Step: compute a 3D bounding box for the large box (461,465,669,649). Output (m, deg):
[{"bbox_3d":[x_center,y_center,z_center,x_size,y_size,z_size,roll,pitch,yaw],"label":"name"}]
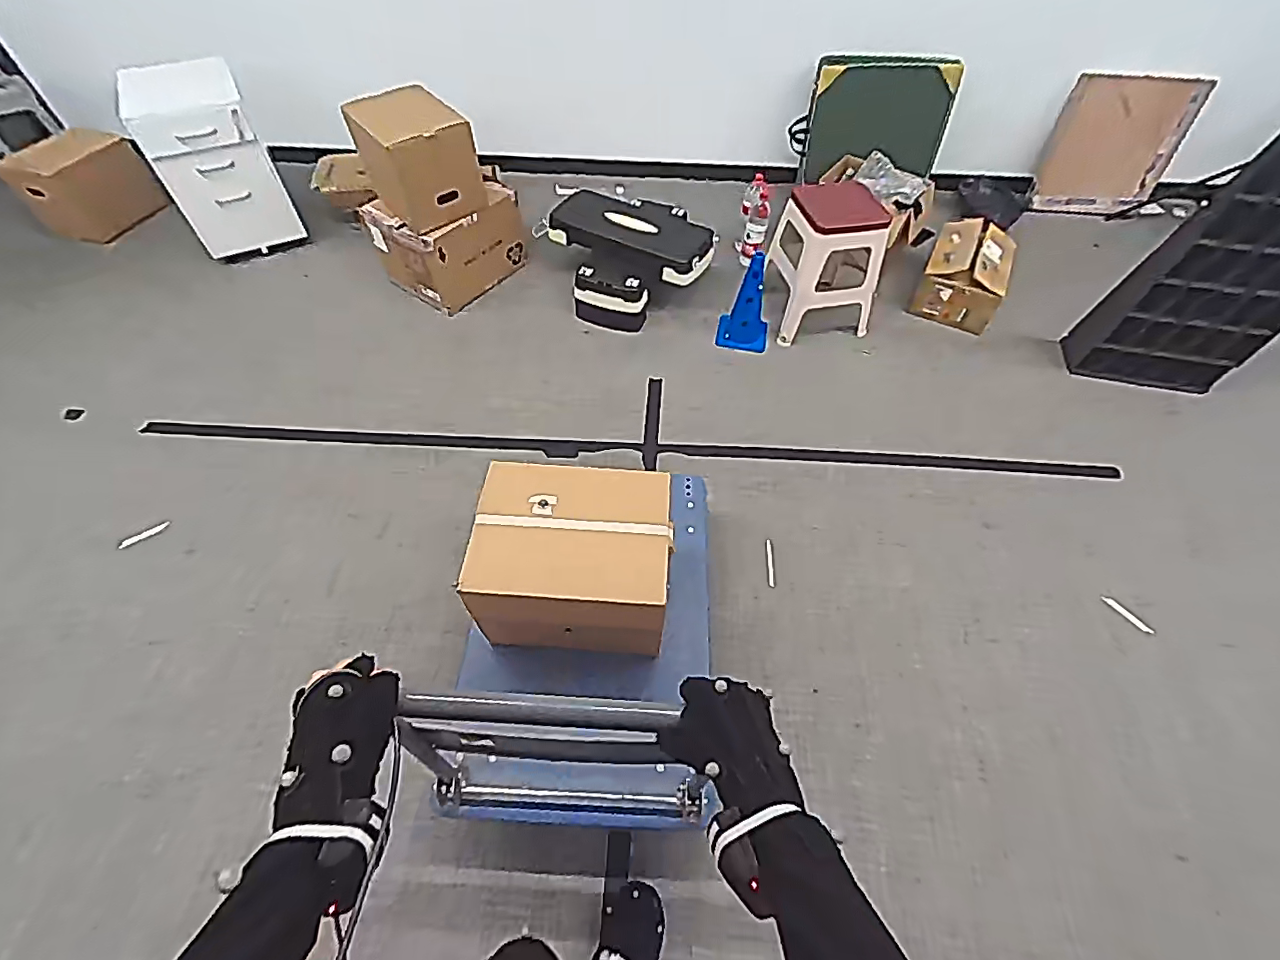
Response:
[{"bbox_3d":[-0.141,0.186,1.244,0.408,0.320,0.320,4,55,2],"label":"large box"}]
